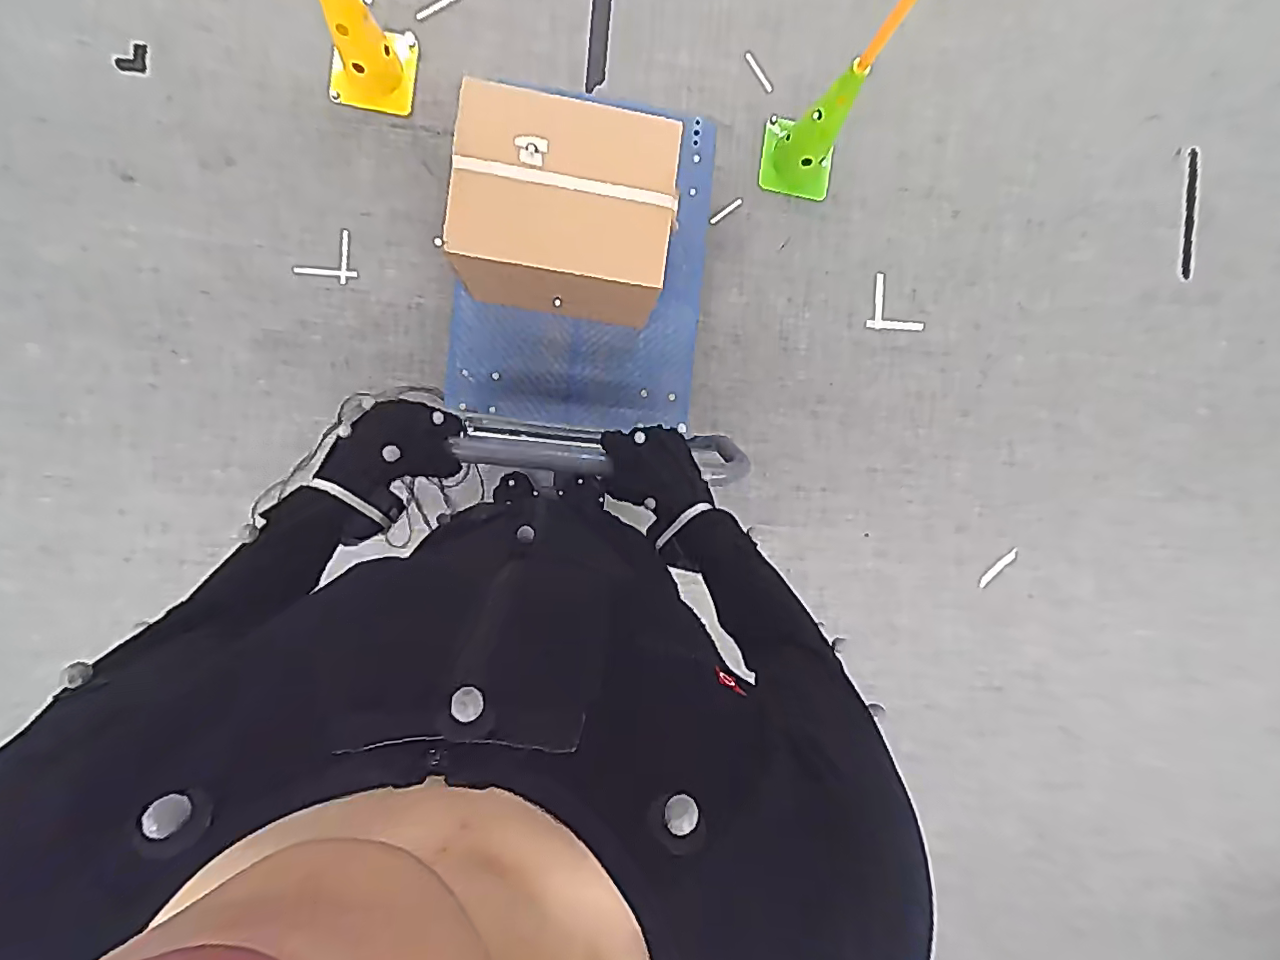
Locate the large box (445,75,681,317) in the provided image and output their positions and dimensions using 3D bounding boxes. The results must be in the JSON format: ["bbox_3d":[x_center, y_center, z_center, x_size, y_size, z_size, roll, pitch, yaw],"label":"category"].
[{"bbox_3d":[-0.149,-0.553,1.129,0.408,0.320,0.320,8,91,-6],"label":"large box"}]

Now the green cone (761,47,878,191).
[{"bbox_3d":[0.463,-0.910,1.330,0.202,0.368,0.200,8,91,-8],"label":"green cone"}]
